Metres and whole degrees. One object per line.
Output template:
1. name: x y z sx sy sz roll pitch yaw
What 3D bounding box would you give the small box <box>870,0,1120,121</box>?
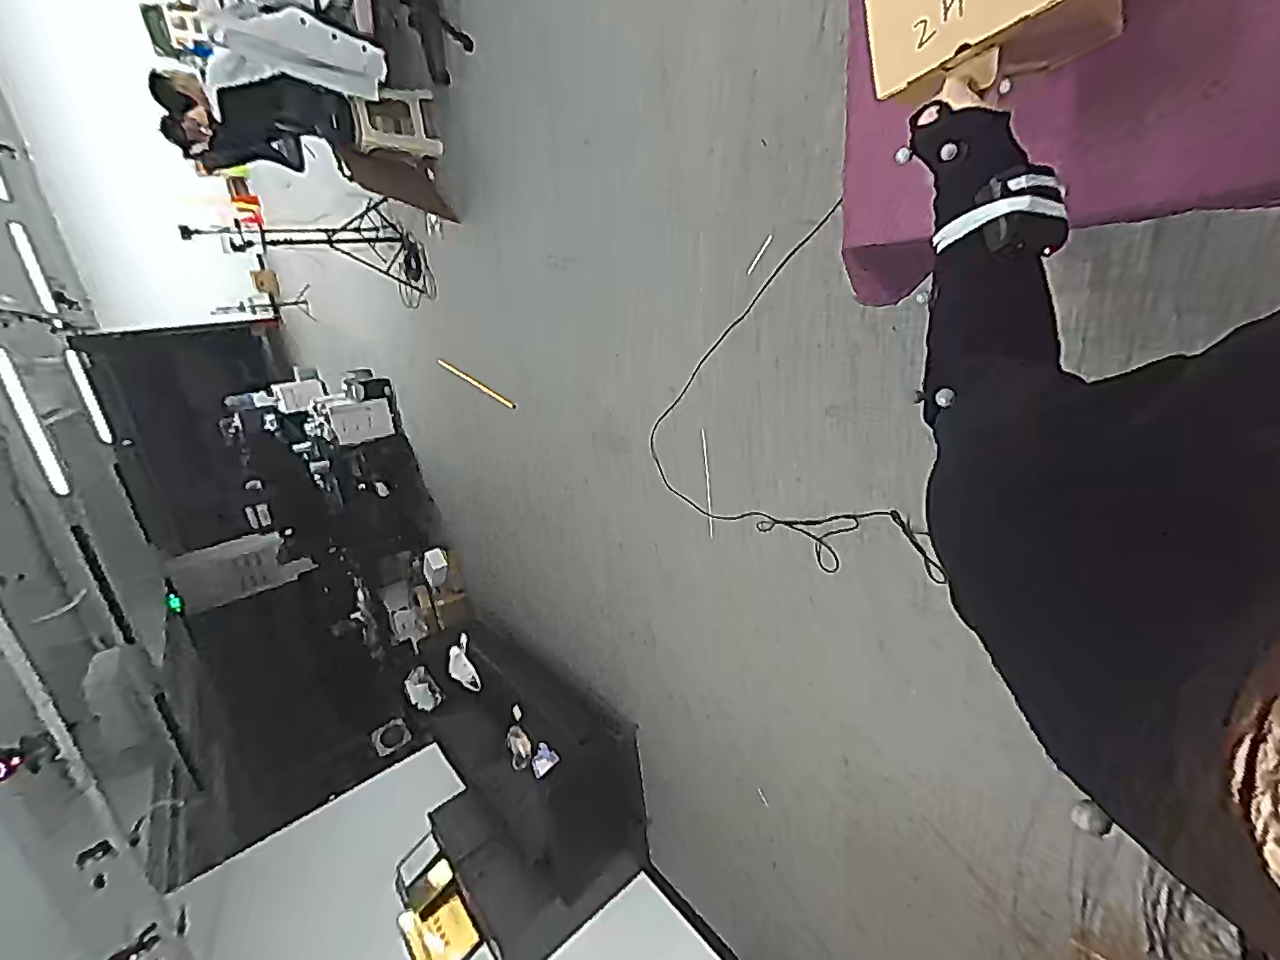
1. small box: 0.347 -0.491 0.532 0.168 0.176 0.179 3 108 52
